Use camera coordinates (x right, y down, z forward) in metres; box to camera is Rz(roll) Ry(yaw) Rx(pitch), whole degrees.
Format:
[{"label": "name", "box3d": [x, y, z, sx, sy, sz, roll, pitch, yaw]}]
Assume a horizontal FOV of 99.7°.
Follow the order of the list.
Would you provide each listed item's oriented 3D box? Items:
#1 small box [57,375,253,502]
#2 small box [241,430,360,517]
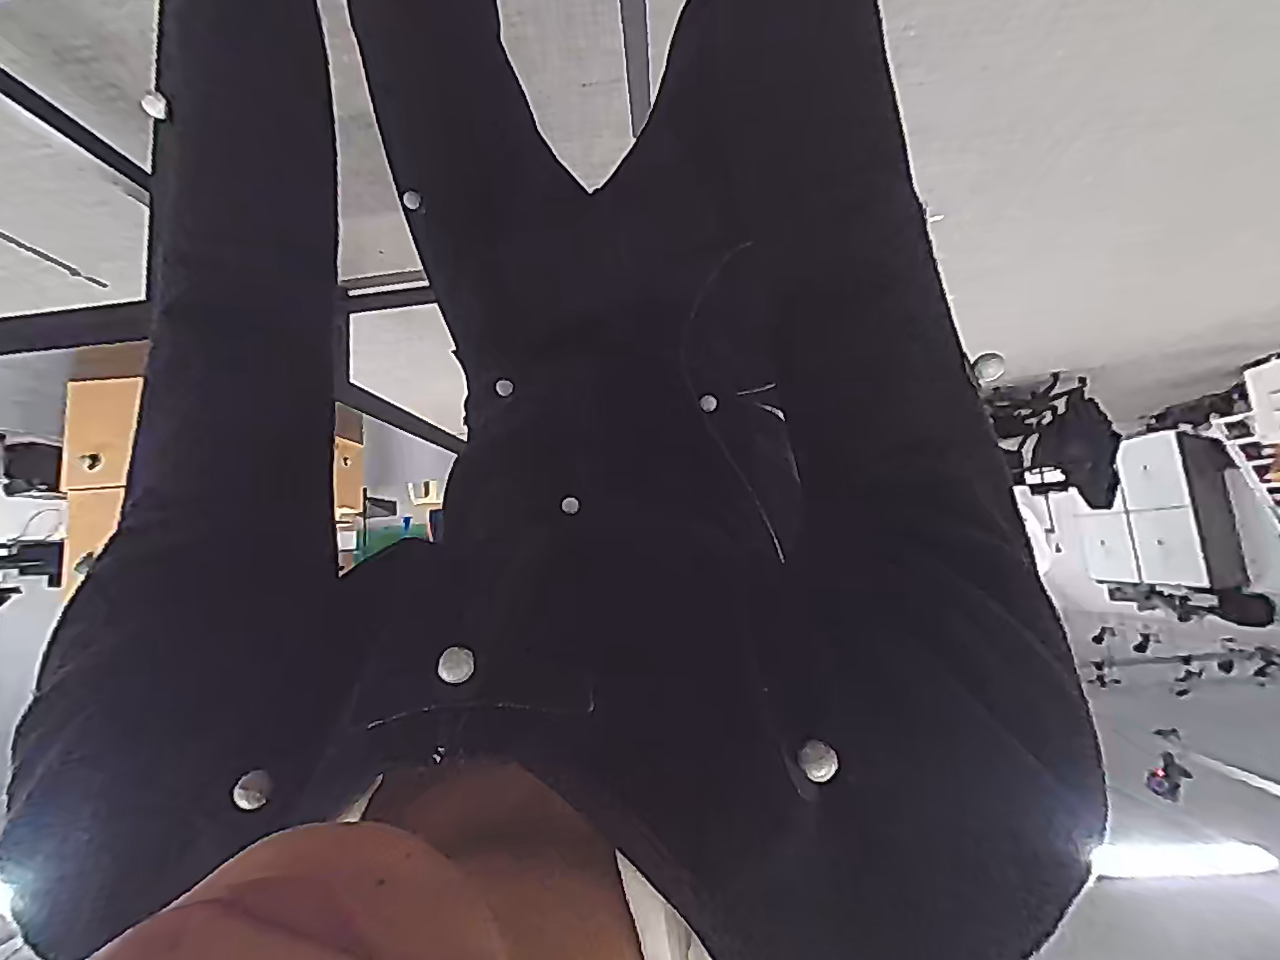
[{"label": "small box", "box3d": [-0.757, -0.061, 0.866, 0.179, 0.176, 0.168, -4, 173, -1]}, {"label": "small box", "box3d": [-0.764, -0.011, 1.234, 0.179, 0.176, 0.168, -5, 172, 4]}]
